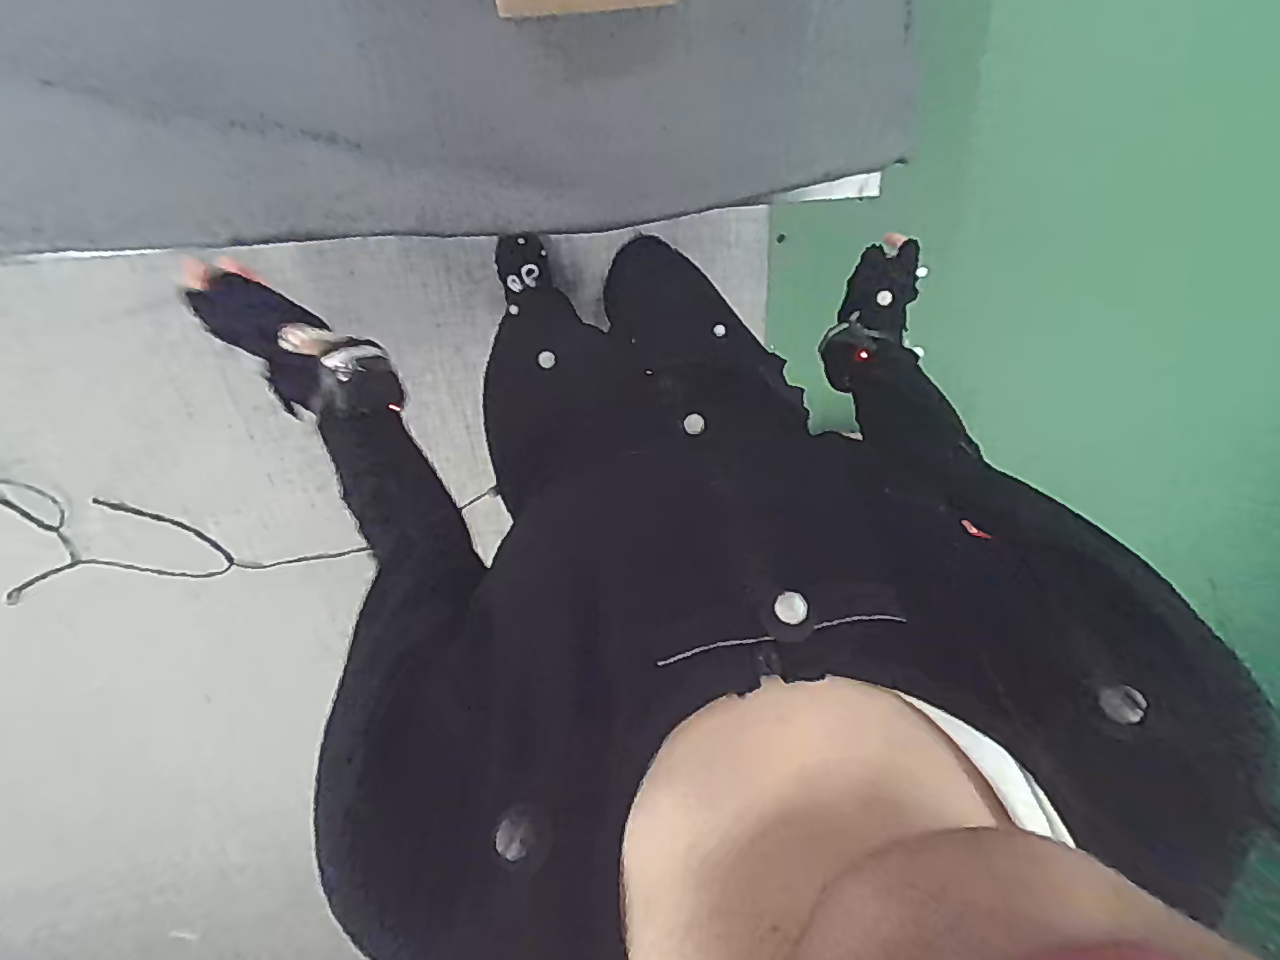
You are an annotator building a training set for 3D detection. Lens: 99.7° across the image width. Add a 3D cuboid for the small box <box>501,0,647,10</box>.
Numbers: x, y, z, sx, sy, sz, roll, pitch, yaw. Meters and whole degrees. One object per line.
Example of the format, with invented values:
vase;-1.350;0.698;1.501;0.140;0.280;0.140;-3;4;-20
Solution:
small box;-0.040;-0.494;0.413;0.179;0.176;0.168;-11;117;-7
